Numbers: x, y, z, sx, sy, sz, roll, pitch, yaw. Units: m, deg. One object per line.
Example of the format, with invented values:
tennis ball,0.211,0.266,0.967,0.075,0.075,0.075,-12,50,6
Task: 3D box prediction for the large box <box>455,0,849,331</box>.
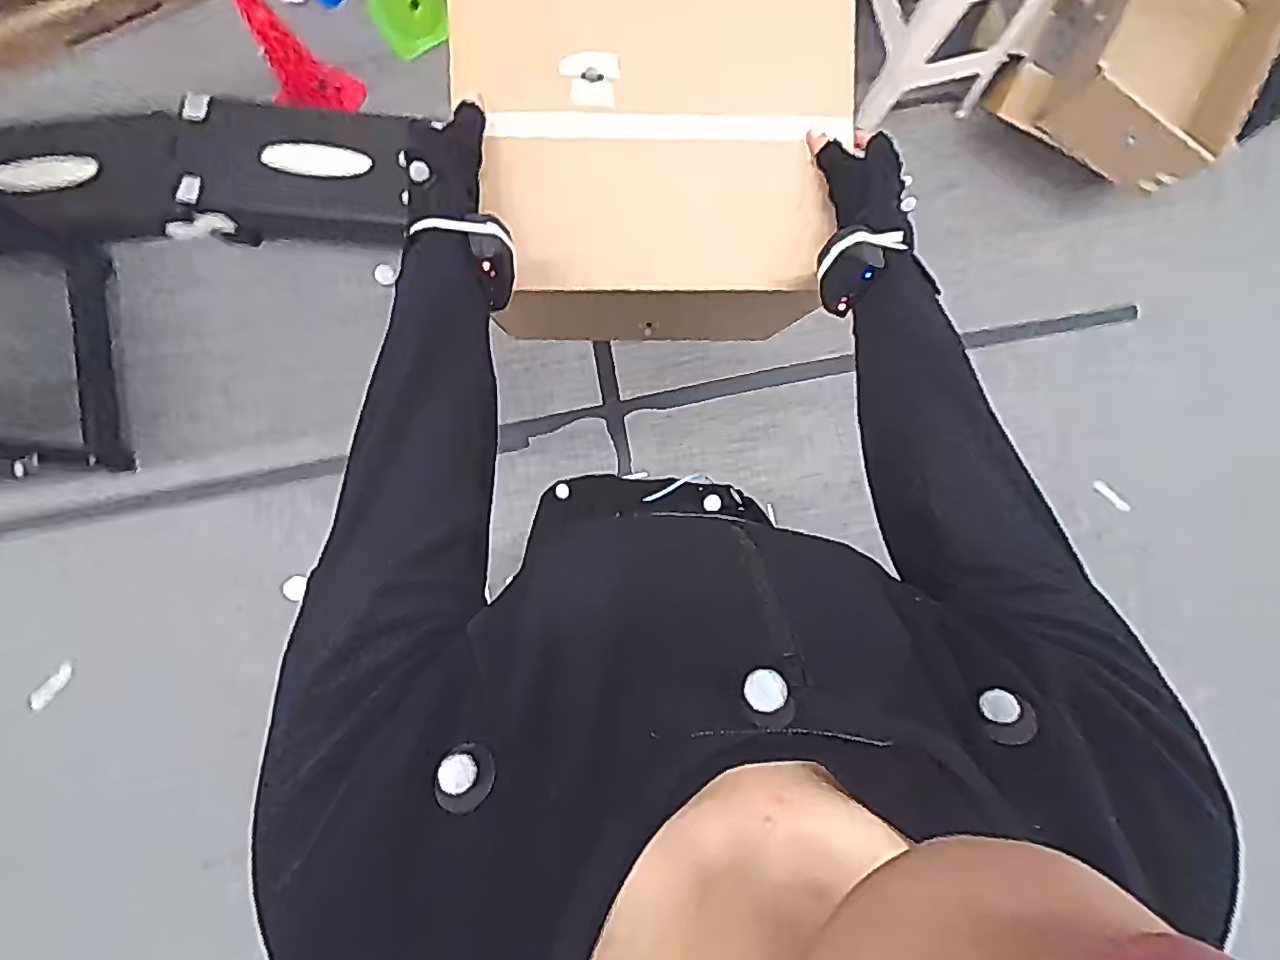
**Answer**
large box,0.011,-0.373,0.702,0.408,0.320,0.320,0,95,-3
